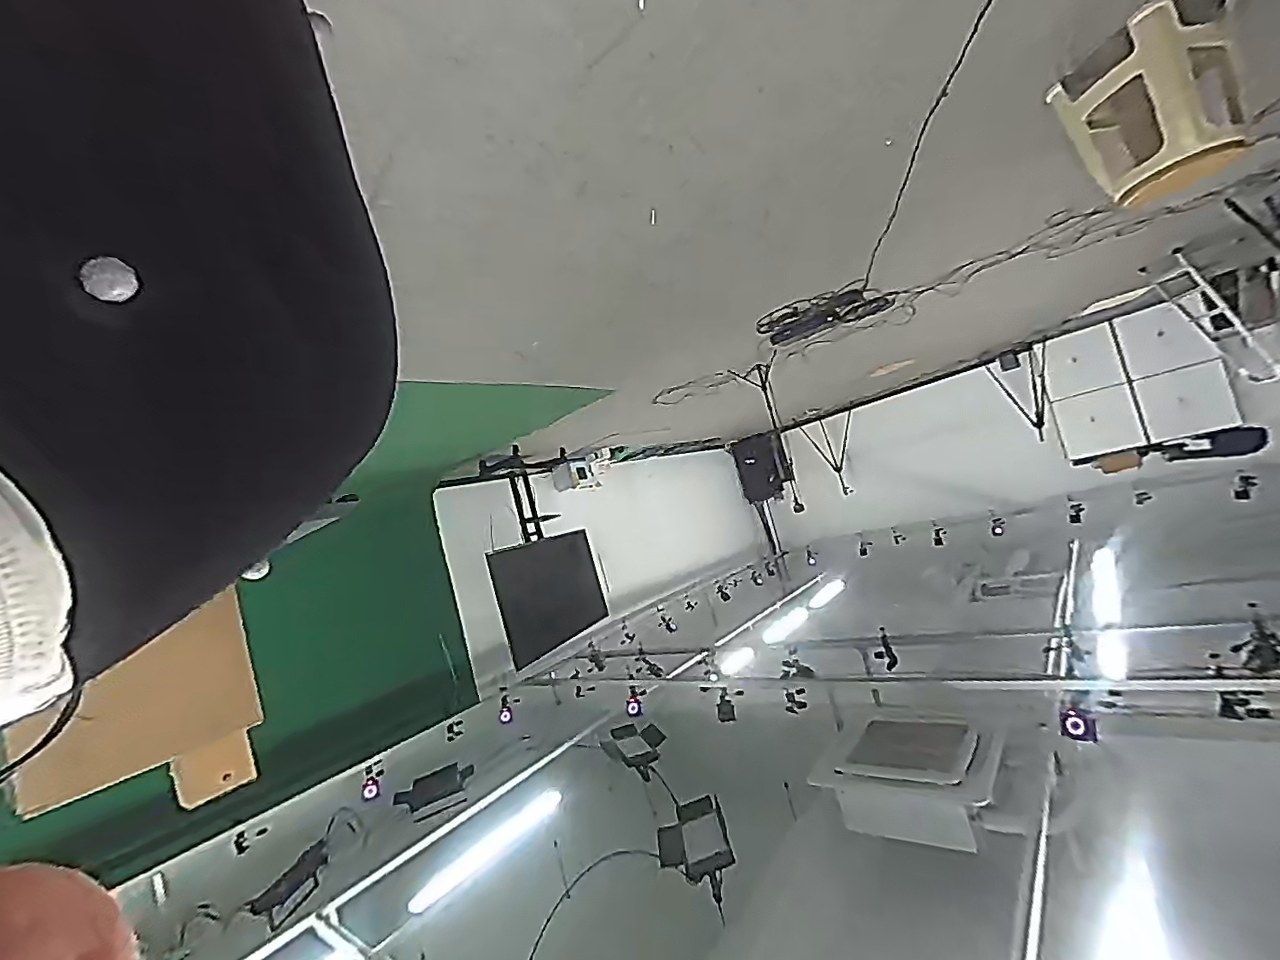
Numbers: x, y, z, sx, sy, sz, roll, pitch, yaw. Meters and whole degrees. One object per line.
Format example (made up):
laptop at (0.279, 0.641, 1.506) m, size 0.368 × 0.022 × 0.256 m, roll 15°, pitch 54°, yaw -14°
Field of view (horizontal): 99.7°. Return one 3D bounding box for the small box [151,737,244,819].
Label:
small box at (-1.404, 0.935, 1.713) m, size 0.168 × 0.176 × 0.179 m, roll -23°, pitch 173°, yaw 34°
